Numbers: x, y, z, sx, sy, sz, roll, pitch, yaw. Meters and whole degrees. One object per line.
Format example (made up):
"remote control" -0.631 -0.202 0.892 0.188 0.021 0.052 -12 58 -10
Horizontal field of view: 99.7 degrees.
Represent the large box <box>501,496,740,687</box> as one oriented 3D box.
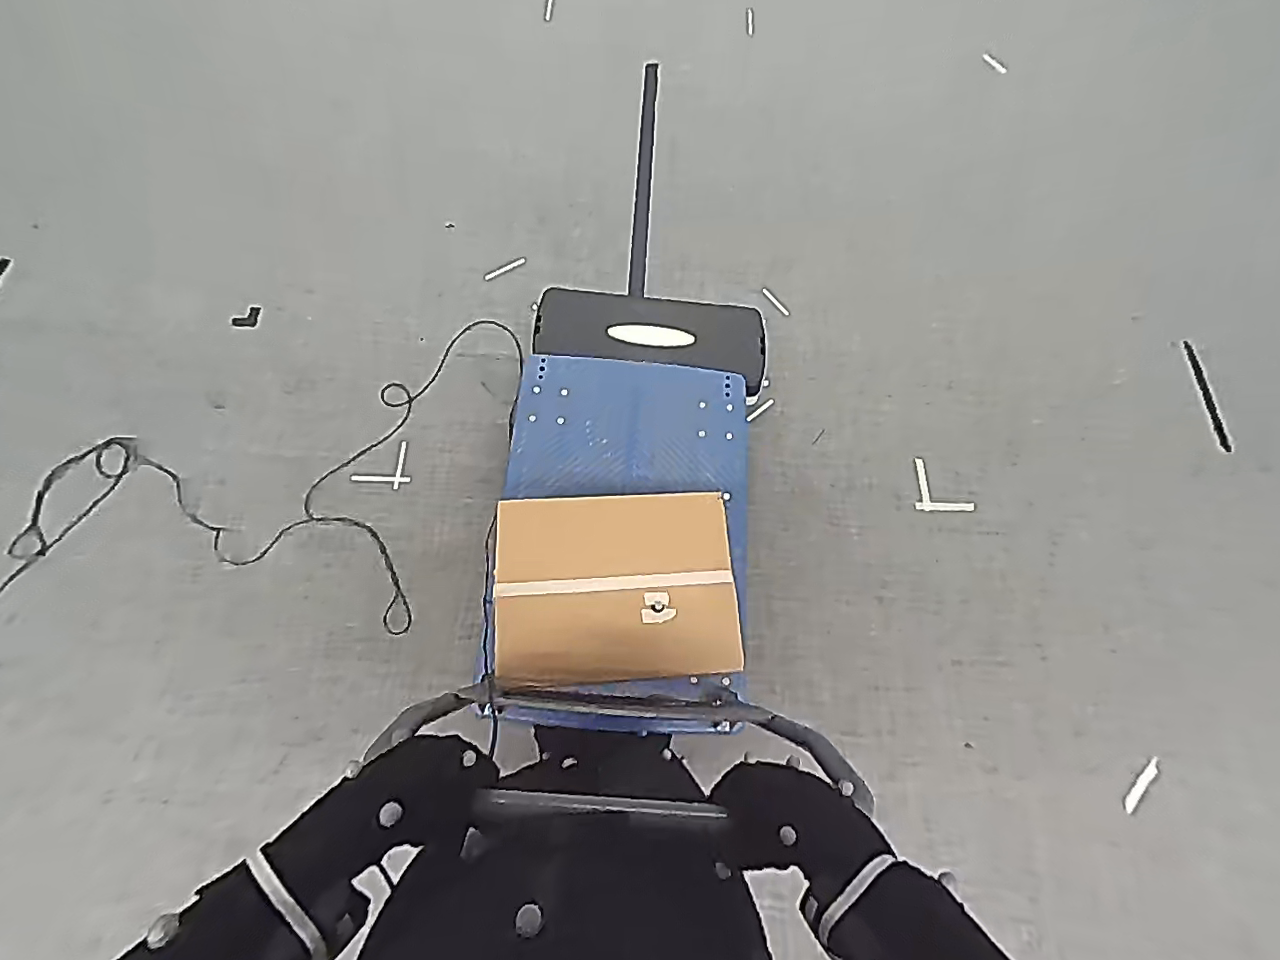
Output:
"large box" -0.053 0.233 1.078 0.408 0.320 0.320 -2 70 -6
